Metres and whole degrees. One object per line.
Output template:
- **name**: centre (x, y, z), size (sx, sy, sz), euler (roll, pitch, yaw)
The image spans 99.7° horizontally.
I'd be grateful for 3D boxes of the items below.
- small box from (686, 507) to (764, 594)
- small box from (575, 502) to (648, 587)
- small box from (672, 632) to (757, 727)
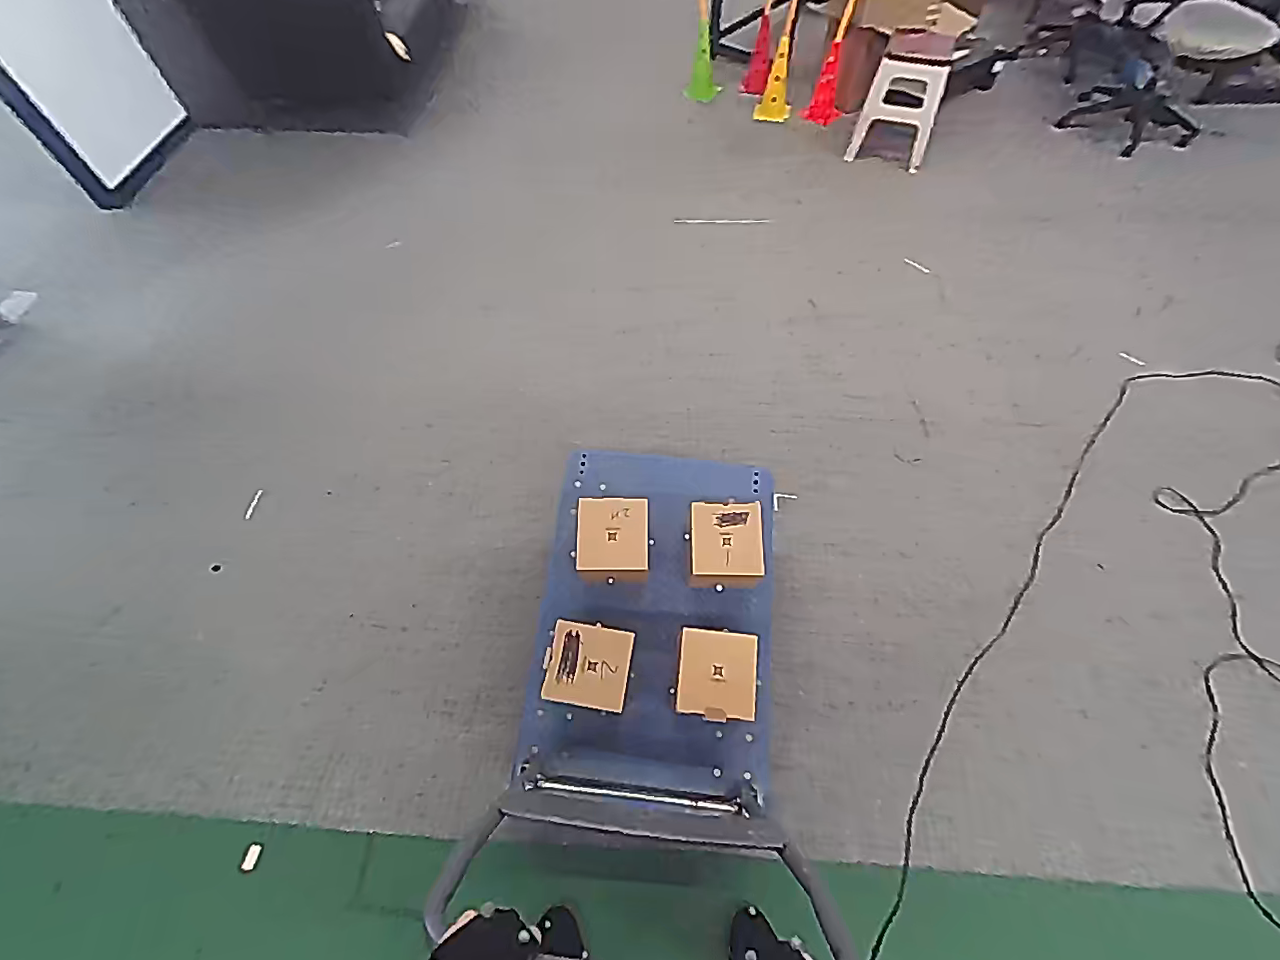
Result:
- **small box**: centre (0.202, 0.176, 1.330), size (0.168, 0.176, 0.179), euler (2, 69, 0)
- **small box**: centre (-0.065, 0.164, 1.331), size (0.168, 0.176, 0.179), euler (1, 68, -1)
- **small box**: centre (0.164, 0.450, 1.223), size (0.168, 0.176, 0.179), euler (6, 69, 2)
